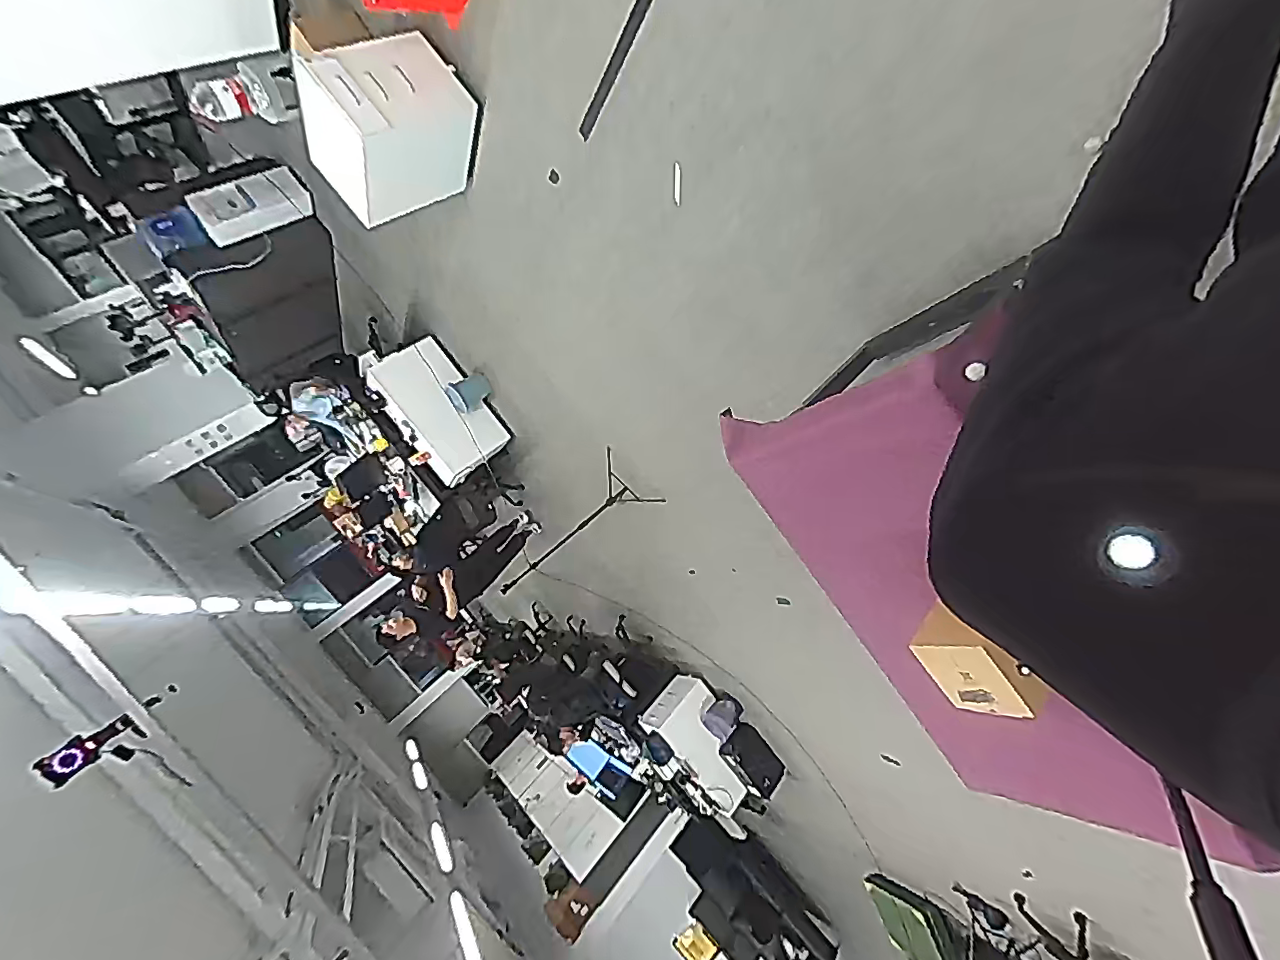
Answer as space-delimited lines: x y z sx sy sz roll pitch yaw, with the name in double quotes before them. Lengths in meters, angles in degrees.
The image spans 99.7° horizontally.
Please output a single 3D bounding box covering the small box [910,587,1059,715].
"small box" 0.703 0.342 1.100 0.179 0.176 0.168 51 152 -3
